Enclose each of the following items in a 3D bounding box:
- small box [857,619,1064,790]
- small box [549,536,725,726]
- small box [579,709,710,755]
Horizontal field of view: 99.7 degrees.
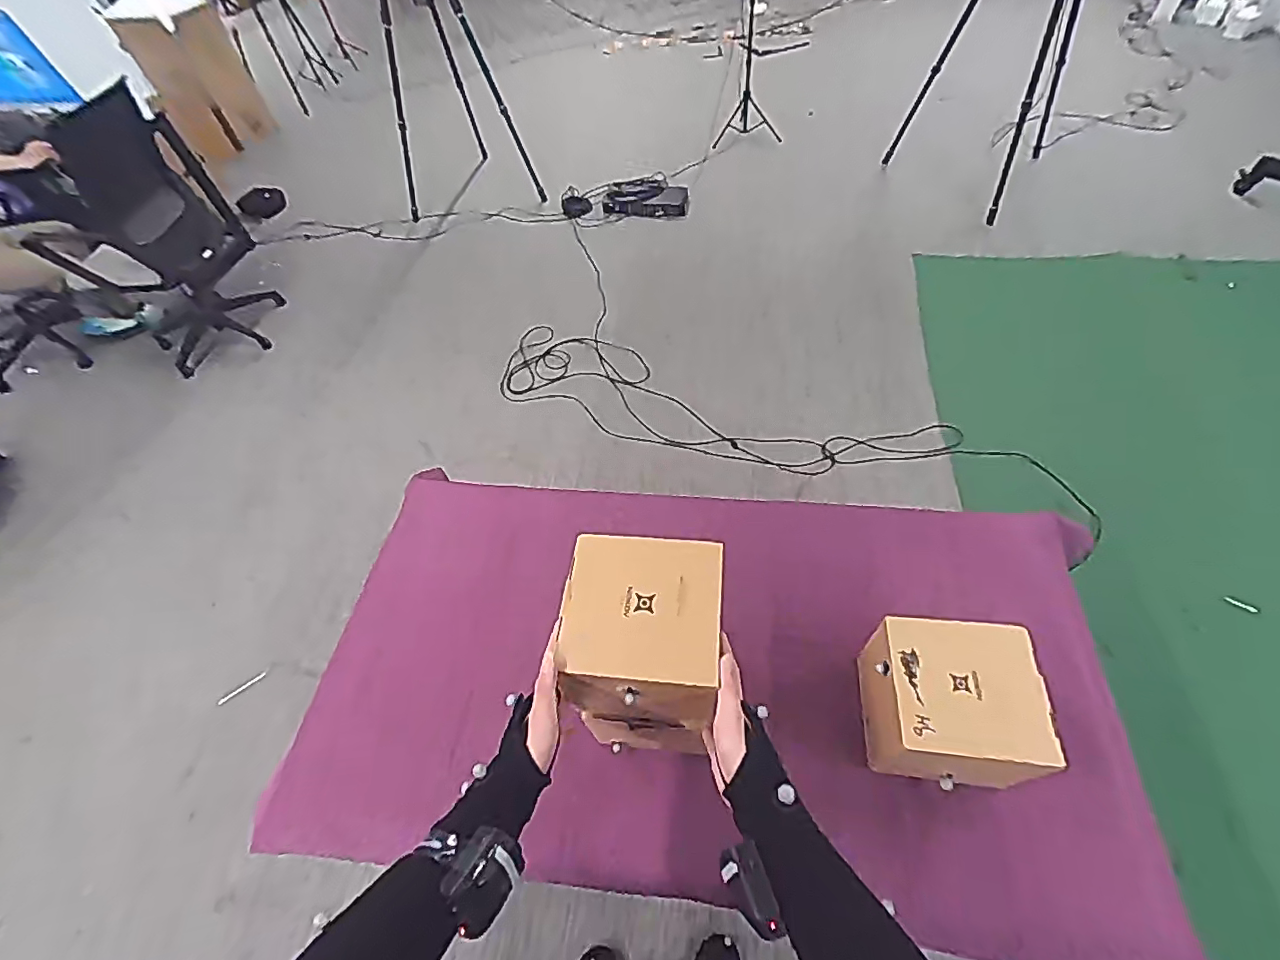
[{"bbox_3d":[0.406,0.304,0.723,0.179,0.176,0.168,4,54,9],"label":"small box"},{"bbox_3d":[0.008,0.184,0.648,0.179,0.176,0.168,4,54,7],"label":"small box"},{"bbox_3d":[0.020,0.282,0.778,0.168,0.176,0.179,3,53,7],"label":"small box"}]
